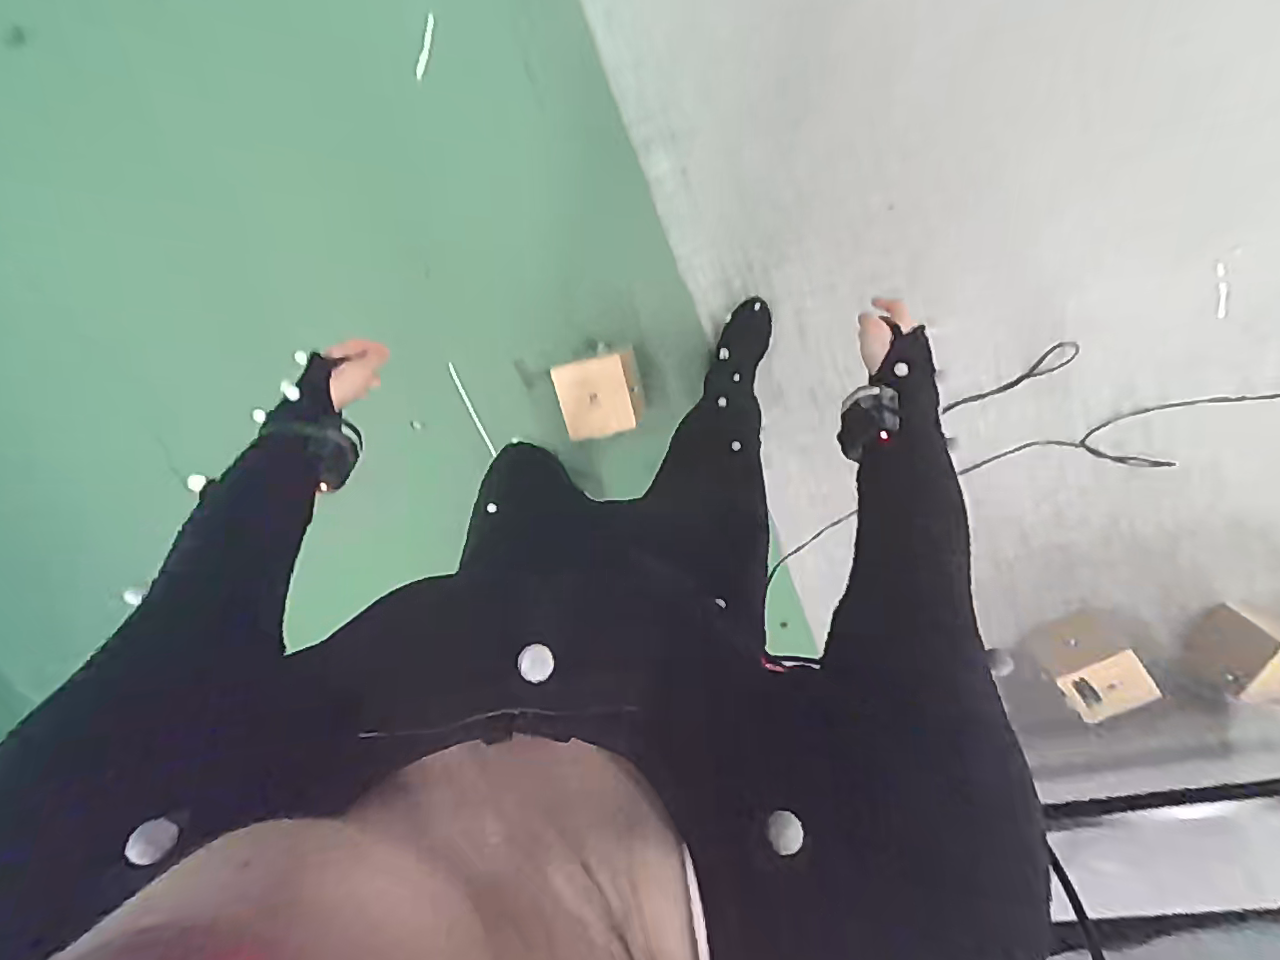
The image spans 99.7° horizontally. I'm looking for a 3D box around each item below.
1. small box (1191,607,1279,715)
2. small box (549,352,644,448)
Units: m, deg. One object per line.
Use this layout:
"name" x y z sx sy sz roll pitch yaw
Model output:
"small box" 1.477 0.426 1.272 0.168 0.176 0.179 12 113 4
"small box" -0.094 -0.194 1.291 0.168 0.176 0.179 -11 108 12
